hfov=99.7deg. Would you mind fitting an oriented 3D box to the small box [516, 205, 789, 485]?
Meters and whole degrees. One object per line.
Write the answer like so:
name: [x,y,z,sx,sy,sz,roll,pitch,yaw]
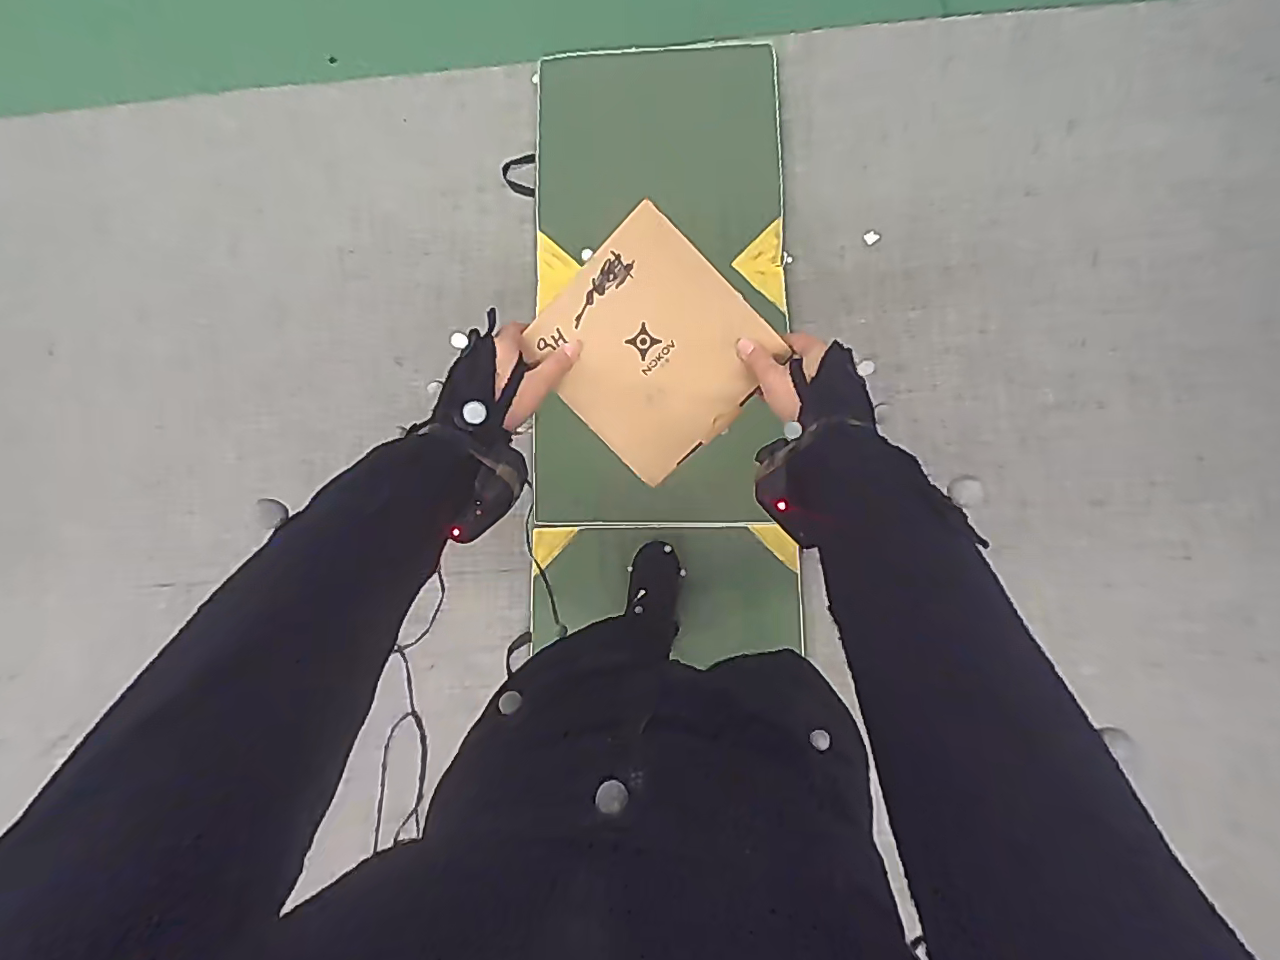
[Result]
small box: [0.015,-0.123,0.534,0.168,0.176,0.179,-44,93,9]
